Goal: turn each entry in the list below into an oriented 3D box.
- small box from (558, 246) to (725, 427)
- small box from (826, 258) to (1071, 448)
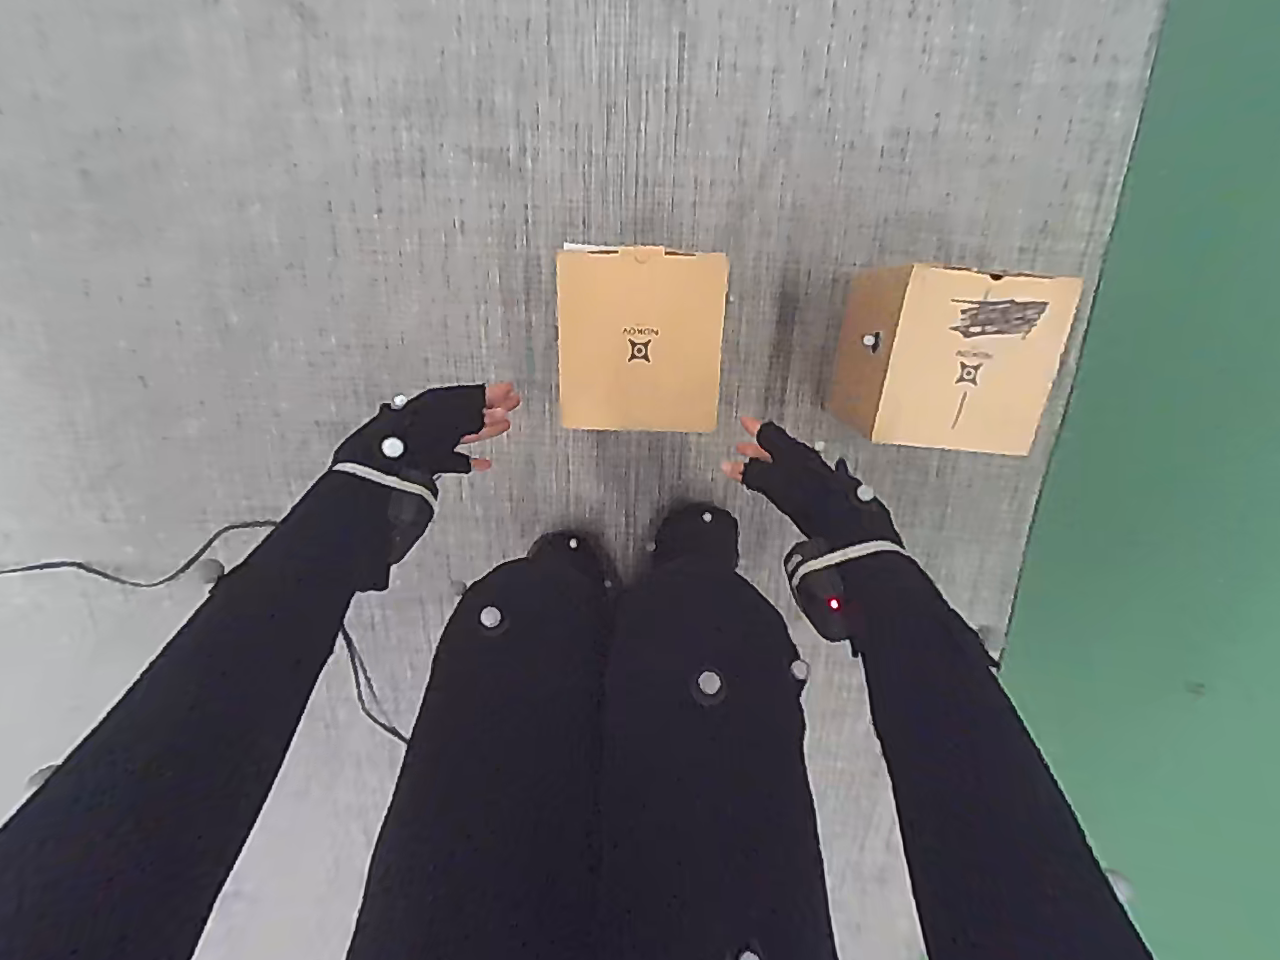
[{"bbox_3d":[0.002,-0.166,0.623,0.168,0.176,0.179,1,107,1],"label":"small box"},{"bbox_3d":[0.328,-0.147,0.618,0.168,0.176,0.179,5,108,0],"label":"small box"}]
